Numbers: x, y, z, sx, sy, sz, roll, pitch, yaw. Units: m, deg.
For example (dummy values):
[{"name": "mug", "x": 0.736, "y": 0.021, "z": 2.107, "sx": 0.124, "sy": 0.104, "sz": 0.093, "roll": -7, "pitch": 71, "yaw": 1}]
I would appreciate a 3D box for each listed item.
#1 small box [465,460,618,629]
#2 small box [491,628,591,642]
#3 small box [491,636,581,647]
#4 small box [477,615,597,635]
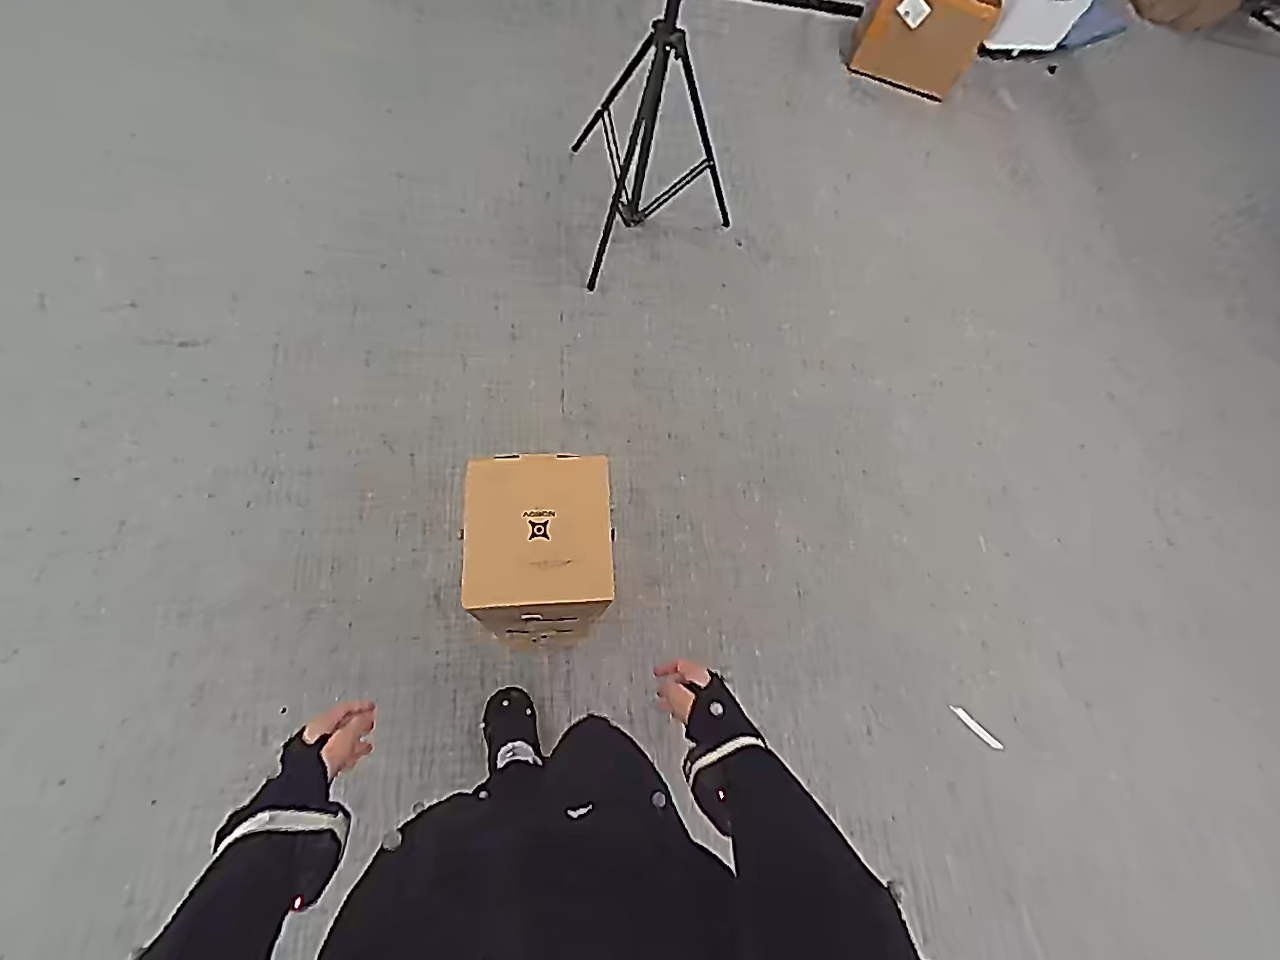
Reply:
[{"name": "small box", "x": -0.122, "y": 0.087, "z": 0.681, "sx": 0.168, "sy": 0.176, "sz": 0.179, "roll": -2, "pitch": 71, "yaw": -9}, {"name": "small box", "x": -0.174, "y": 0.201, "z": 0.982, "sx": 0.168, "sy": 0.176, "sz": 0.179, "roll": 1, "pitch": 71, "yaw": -10}, {"name": "small box", "x": -0.209, "y": 0.260, "z": 1.131, "sx": 0.179, "sy": 0.176, "sz": 0.168, "roll": 2, "pitch": 70, "yaw": -9}, {"name": "small box", "x": -0.150, "y": 0.143, "z": 0.830, "sx": 0.168, "sy": 0.176, "sz": 0.179, "roll": 0, "pitch": 69, "yaw": -9}]
